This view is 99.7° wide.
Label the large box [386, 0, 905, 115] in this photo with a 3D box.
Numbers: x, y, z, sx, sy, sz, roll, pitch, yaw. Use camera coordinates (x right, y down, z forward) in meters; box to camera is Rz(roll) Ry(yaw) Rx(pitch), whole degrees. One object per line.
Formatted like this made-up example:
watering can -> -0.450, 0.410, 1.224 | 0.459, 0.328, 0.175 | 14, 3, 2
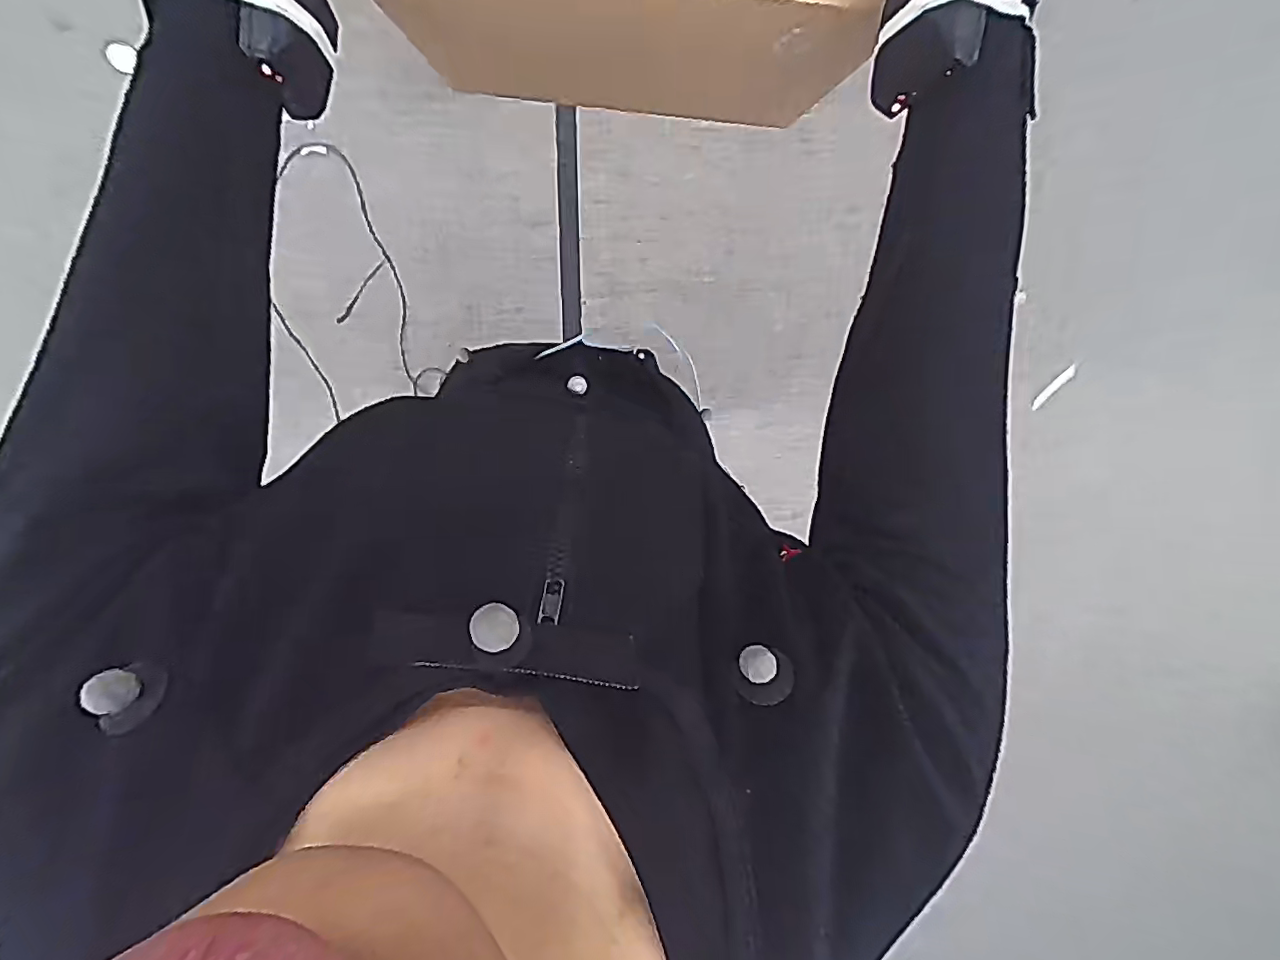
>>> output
large box -> -0.005, -0.538, 0.453 | 0.408, 0.320, 0.320 | 3, 111, -4
